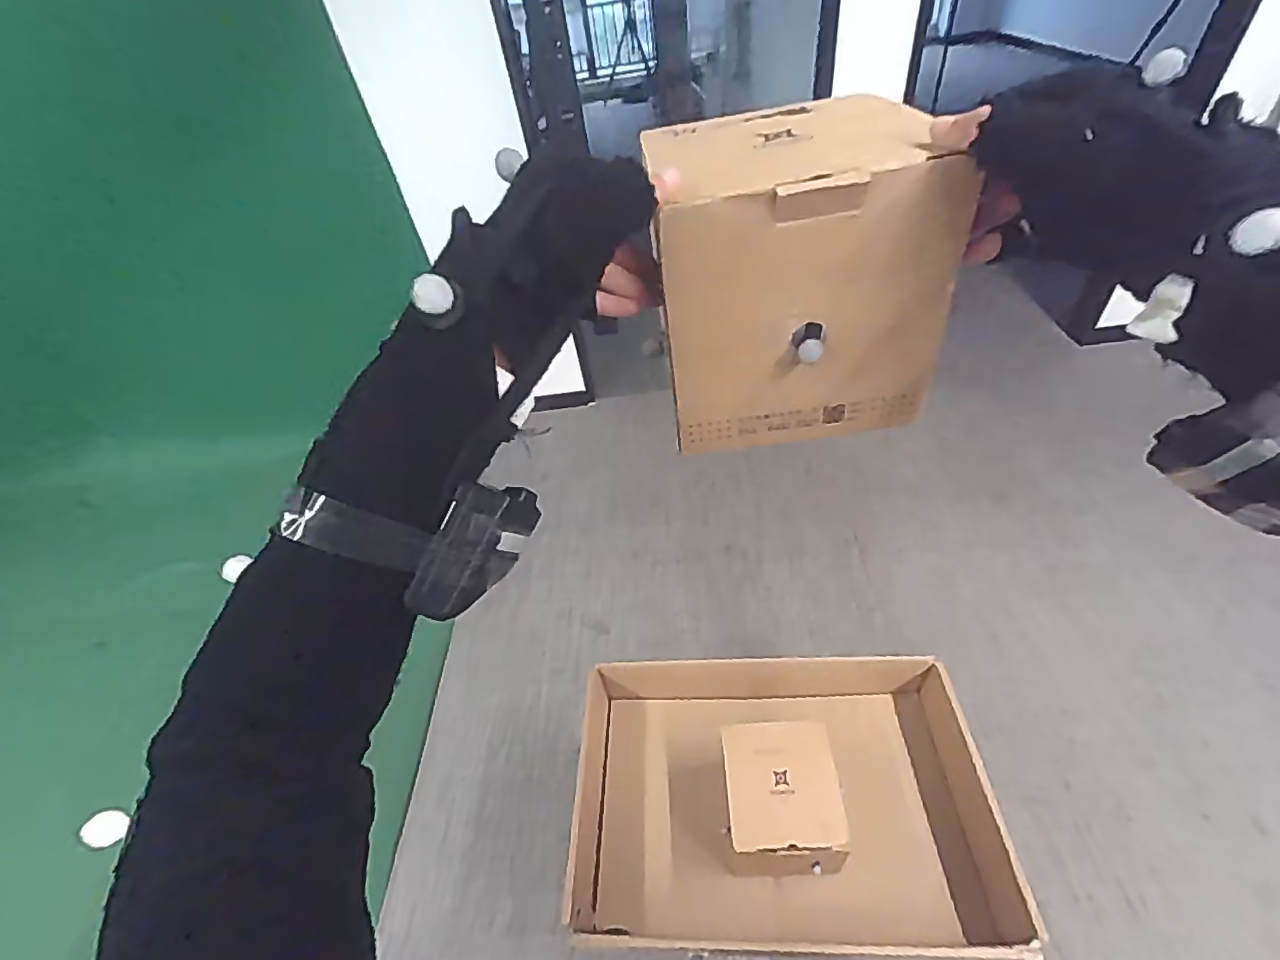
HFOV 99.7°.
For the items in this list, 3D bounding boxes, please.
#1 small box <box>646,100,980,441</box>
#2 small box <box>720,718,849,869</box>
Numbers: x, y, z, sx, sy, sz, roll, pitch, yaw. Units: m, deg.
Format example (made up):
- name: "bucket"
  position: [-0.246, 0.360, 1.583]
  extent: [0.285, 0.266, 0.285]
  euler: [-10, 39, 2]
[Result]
- name: "small box"
  position: [0.098, -0.141, 0.384]
  extent: [0.168, 0.176, 0.179]
  euler: [-7, 43, 4]
- name: "small box"
  position: [0.219, 0.504, 0.863]
  extent: [0.168, 0.176, 0.179]
  euler: [-5, 43, 4]
